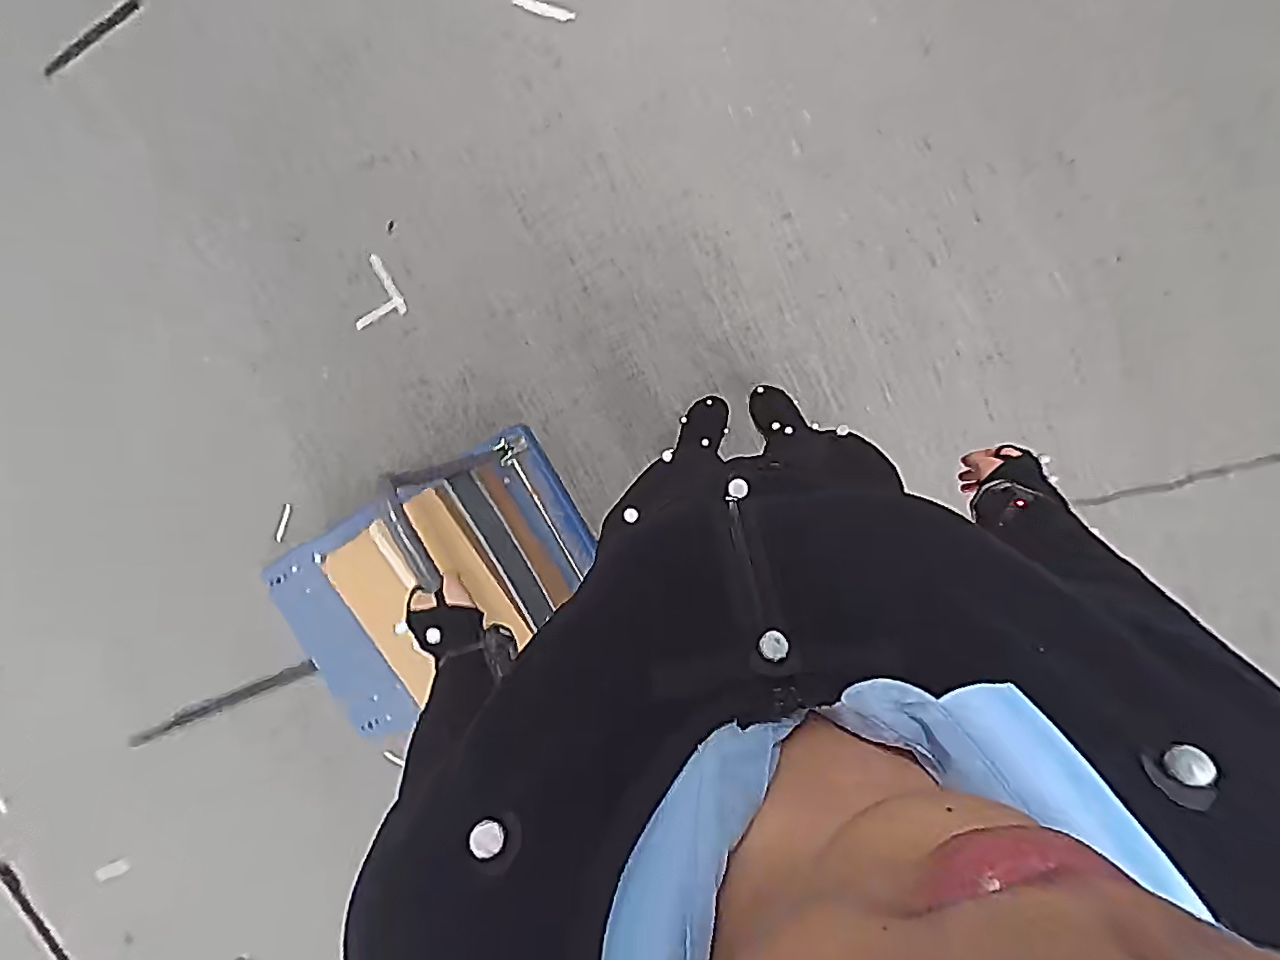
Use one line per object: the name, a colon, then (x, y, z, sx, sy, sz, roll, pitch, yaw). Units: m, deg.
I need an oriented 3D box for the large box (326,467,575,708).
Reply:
large box: (-0.411, 0.230, 1.268, 0.320, 0.320, 0.408, -32, 94, 9)
